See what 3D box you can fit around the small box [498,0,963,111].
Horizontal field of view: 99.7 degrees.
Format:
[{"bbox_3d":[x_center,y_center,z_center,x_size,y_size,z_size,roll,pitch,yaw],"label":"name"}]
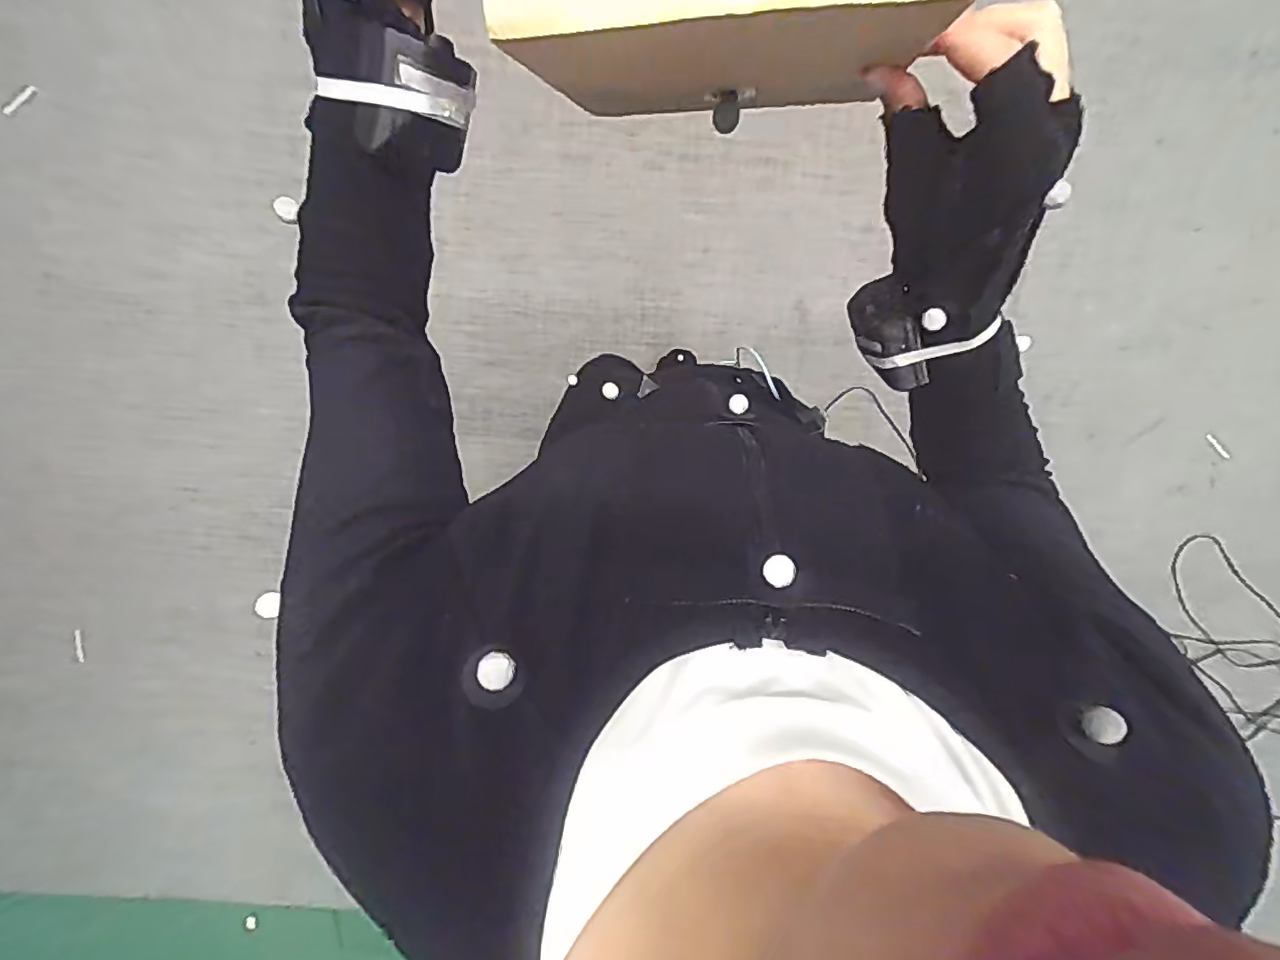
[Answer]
[{"bbox_3d":[0.040,-0.278,0.239,0.179,0.176,0.168,2,115,9],"label":"small box"}]
